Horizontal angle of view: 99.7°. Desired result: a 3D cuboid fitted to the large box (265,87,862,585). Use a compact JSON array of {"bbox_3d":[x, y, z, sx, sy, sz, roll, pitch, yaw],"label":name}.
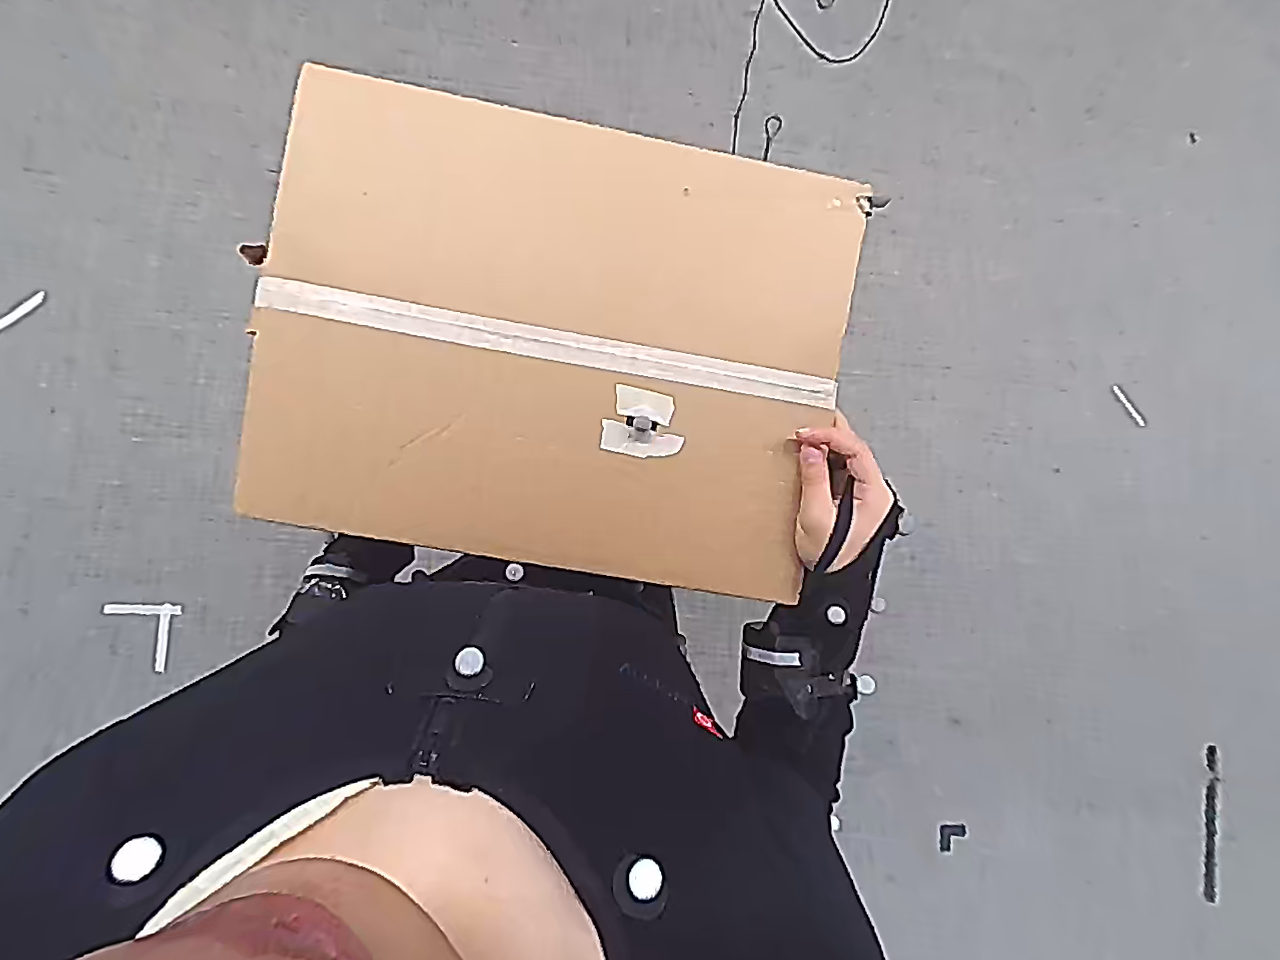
[{"bbox_3d":[-0.061,-0.101,0.542,0.408,0.320,0.320,9,92,-5],"label":"large box"}]
